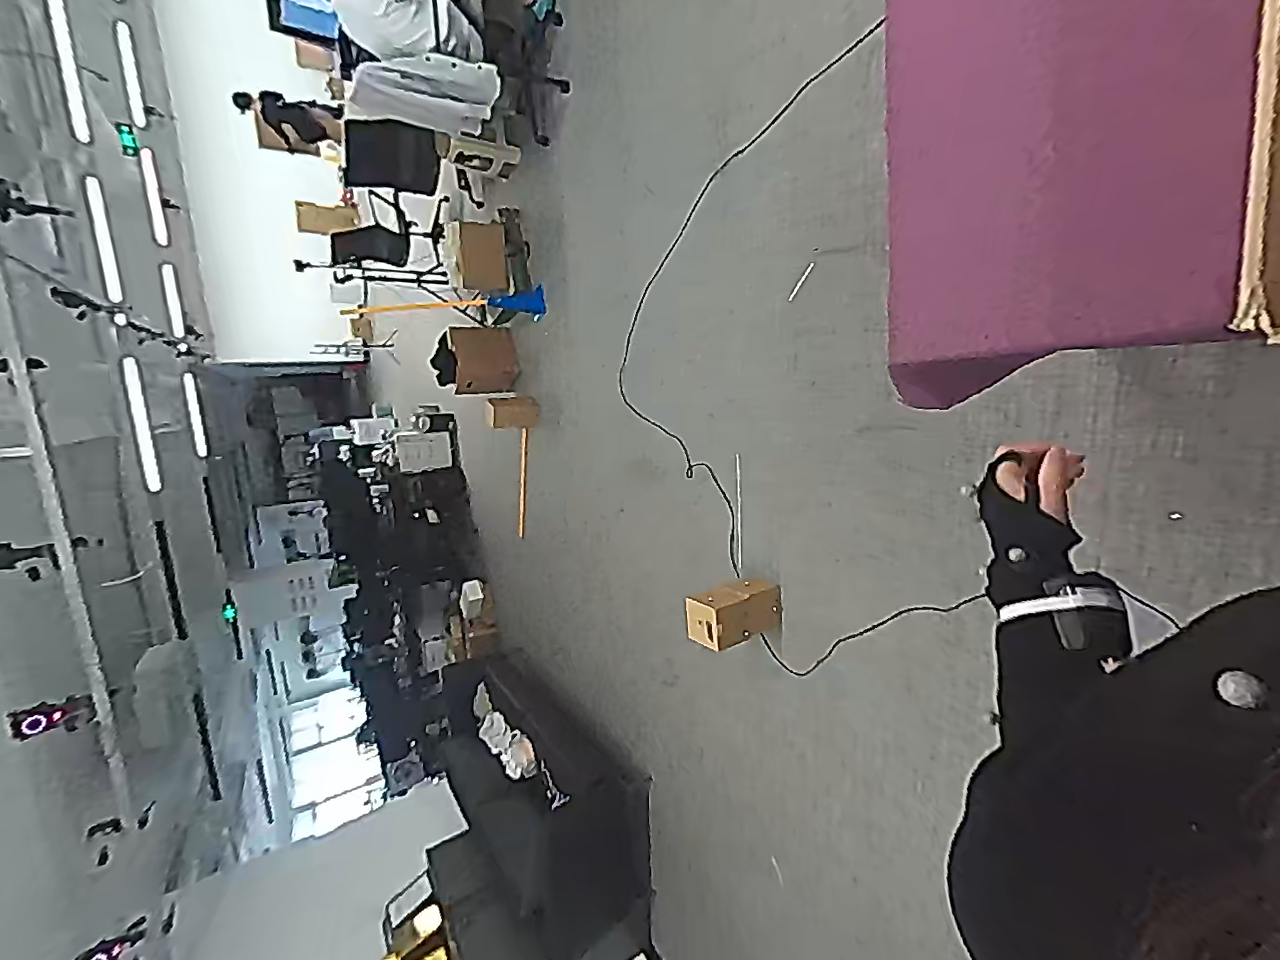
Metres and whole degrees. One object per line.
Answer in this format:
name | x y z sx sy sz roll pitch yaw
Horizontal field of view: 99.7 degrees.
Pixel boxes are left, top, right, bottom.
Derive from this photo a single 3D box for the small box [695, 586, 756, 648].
small box | 0.332 0.515 2.066 0.179 0.176 0.168 8 104 59
